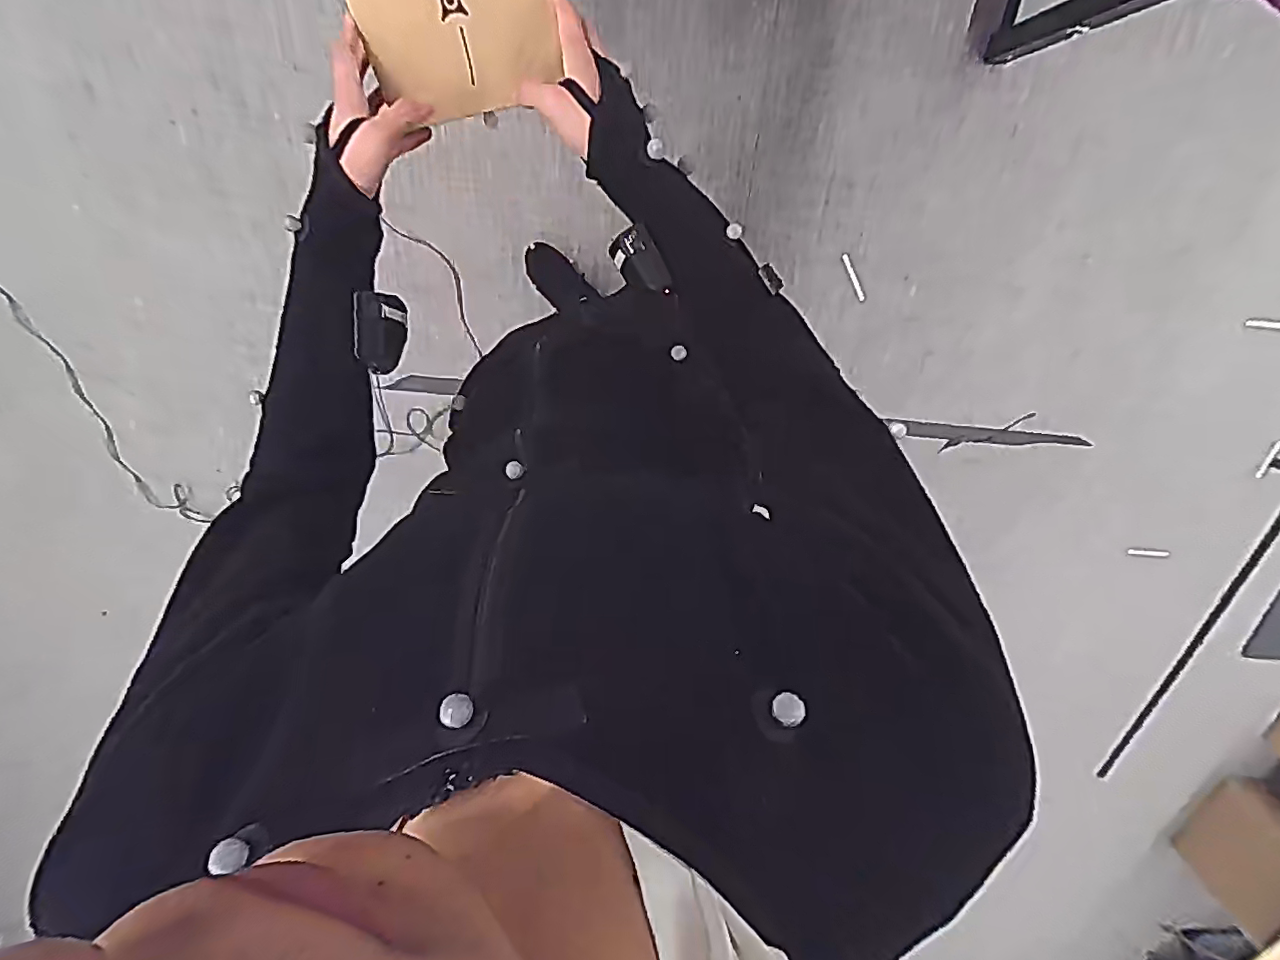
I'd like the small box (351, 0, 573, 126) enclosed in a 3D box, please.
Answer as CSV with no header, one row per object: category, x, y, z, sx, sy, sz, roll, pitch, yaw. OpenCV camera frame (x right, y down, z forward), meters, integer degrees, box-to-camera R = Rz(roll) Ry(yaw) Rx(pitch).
small box,-0.165,-0.448,0.498,0.168,0.176,0.179,-13,129,-1
